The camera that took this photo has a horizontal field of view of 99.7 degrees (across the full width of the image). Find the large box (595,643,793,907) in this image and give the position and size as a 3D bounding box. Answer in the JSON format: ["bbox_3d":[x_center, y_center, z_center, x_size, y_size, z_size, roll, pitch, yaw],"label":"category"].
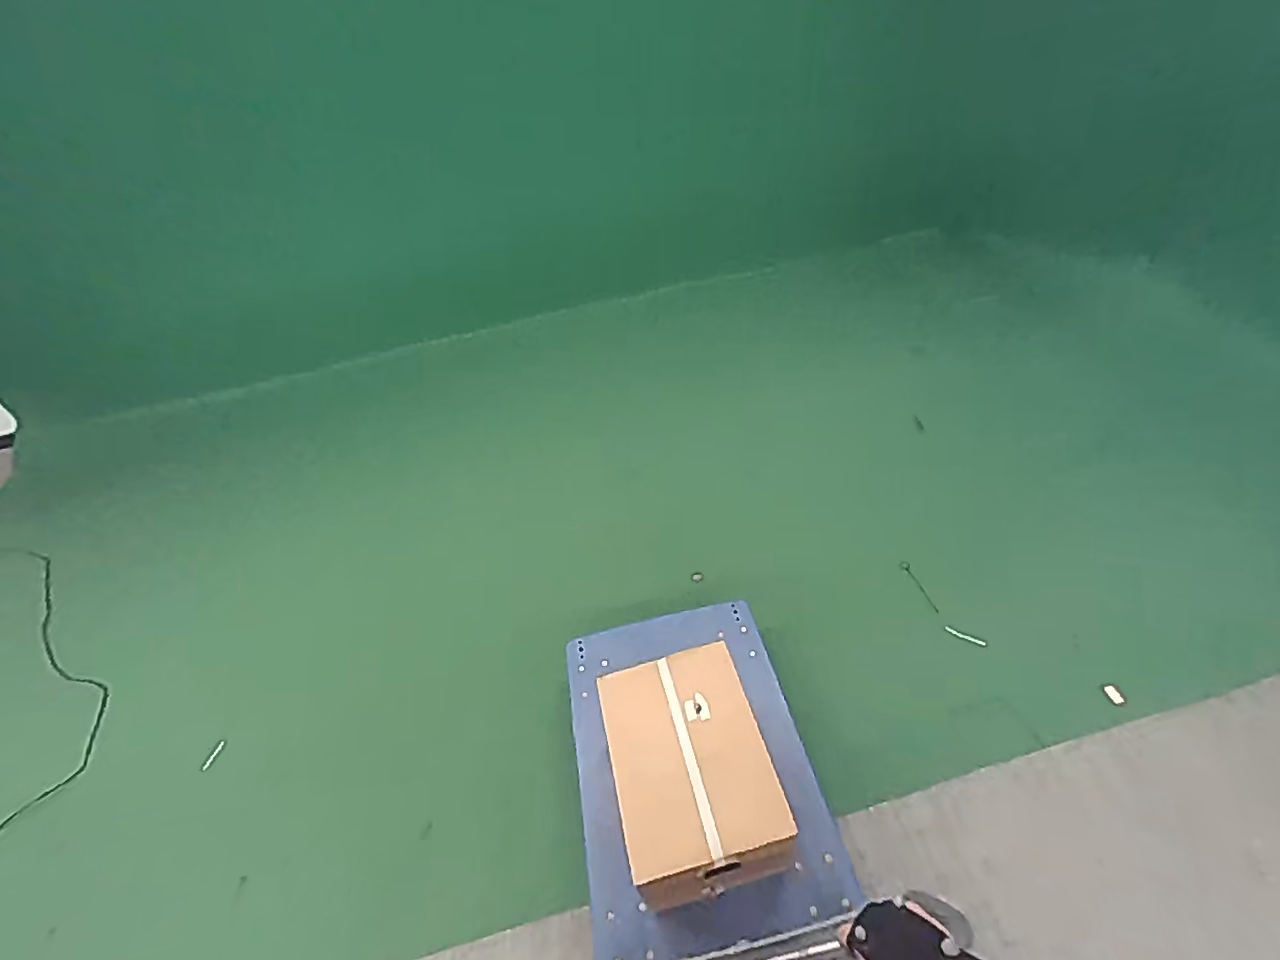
[{"bbox_3d":[0.112,0.657,1.222,0.320,0.320,0.408,-15,44,-4],"label":"large box"}]
